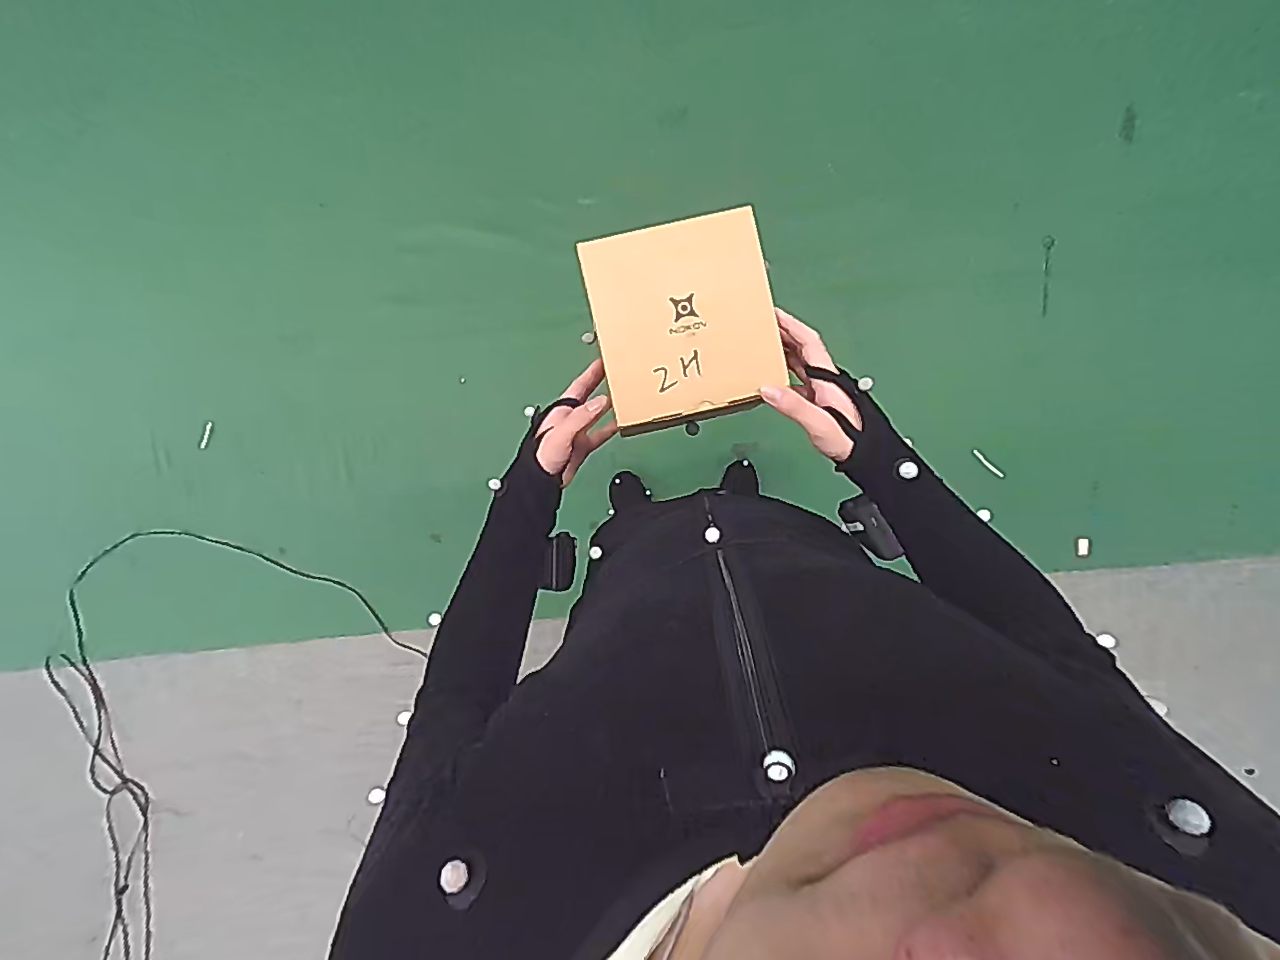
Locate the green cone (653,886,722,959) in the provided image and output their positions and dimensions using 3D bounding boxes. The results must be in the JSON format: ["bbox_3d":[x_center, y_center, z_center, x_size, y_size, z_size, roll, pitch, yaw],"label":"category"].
[{"bbox_3d":[0.135,1.345,1.480,0.202,0.368,0.200,-5,92,3],"label":"green cone"}]
